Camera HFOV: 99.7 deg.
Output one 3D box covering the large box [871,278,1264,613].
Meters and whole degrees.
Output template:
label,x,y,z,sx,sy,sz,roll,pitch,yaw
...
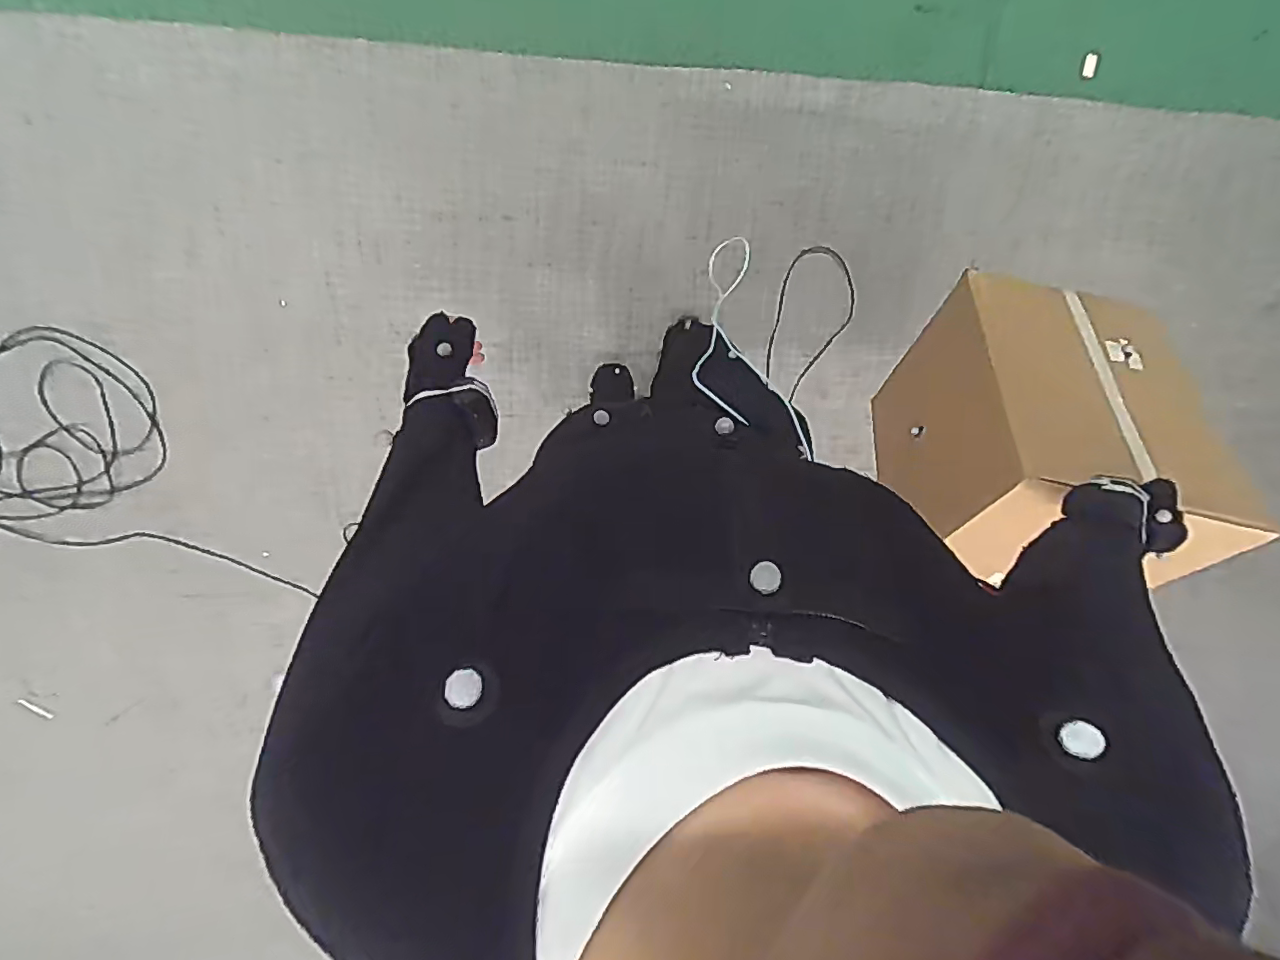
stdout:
label,x,y,z,sx,sy,sz,roll,pitch,yaw
large box,0.603,-0.049,0.869,0.320,0.408,0.320,13,145,-2
